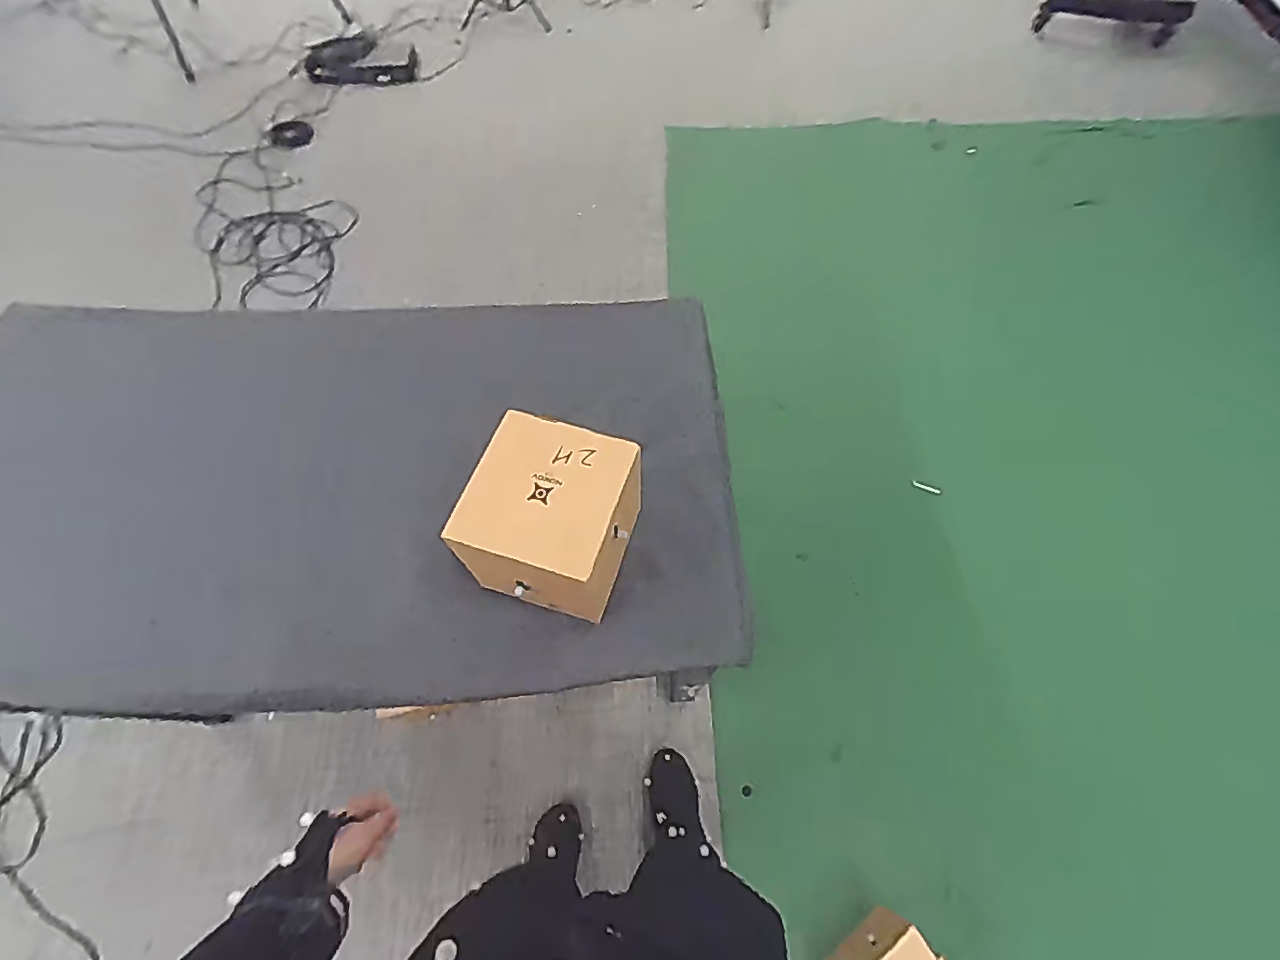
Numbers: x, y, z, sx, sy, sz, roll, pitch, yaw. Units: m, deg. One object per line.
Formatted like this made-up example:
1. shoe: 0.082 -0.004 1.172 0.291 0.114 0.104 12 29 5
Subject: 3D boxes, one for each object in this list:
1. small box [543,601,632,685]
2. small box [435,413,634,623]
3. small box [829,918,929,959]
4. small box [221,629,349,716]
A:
1. small box: -0.119 0.388 1.301 0.179 0.176 0.168 10 64 4
2. small box: -0.108 0.054 0.650 0.168 0.176 0.179 17 62 9
3. small box: 0.468 0.971 1.006 0.179 0.176 0.168 -31 67 -15
4. small box: -0.821 0.458 1.274 0.168 0.176 0.179 1 63 1
